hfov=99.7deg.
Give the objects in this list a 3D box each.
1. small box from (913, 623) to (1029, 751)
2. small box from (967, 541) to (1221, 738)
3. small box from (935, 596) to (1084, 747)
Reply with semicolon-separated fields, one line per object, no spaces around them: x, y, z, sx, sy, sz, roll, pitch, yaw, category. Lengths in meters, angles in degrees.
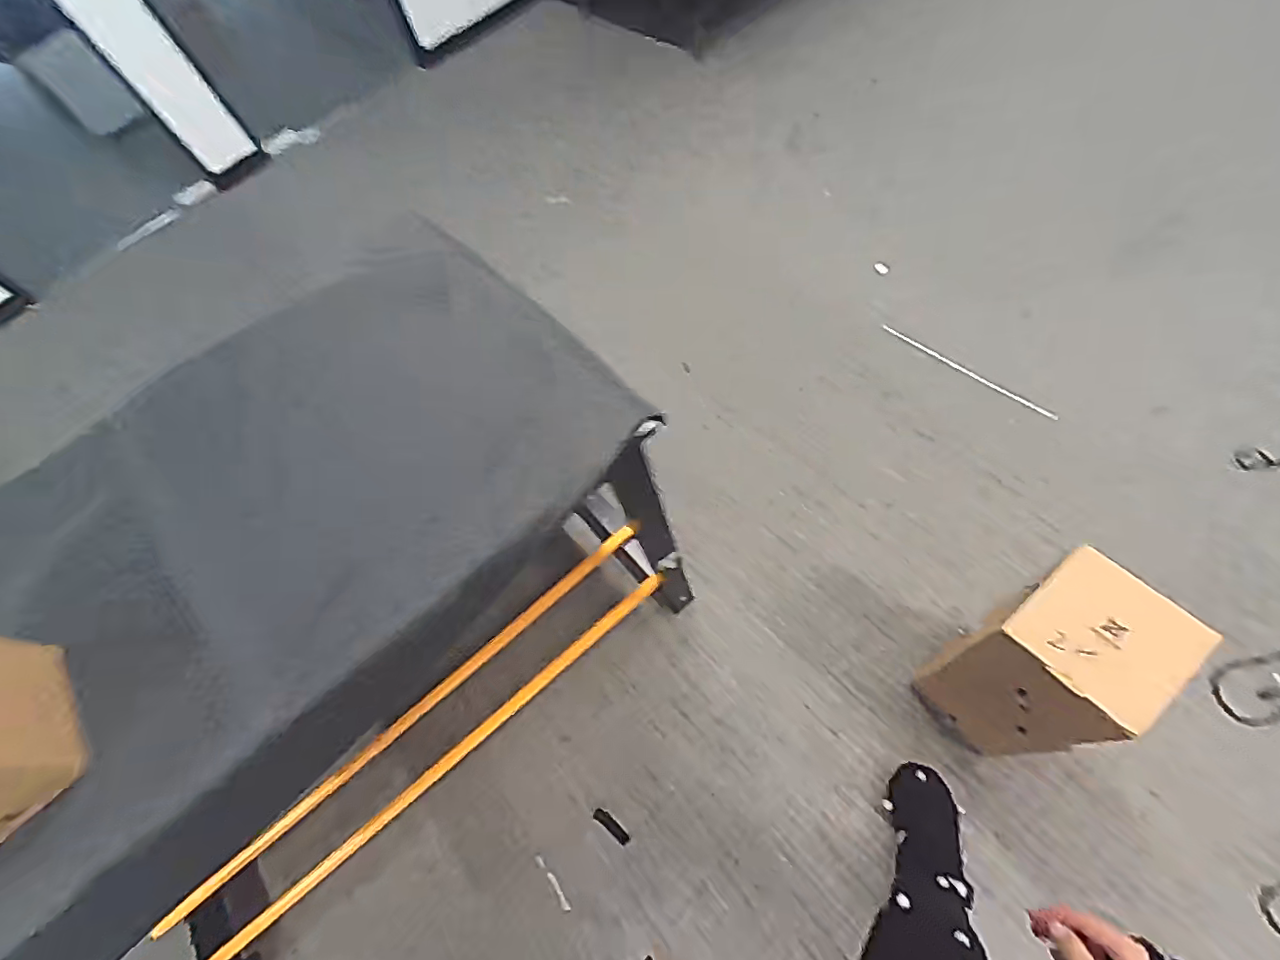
0.652;0.374;1.006;0.168;0.176;0.179;-37;63;-11;small box
0.585;0.218;0.727;0.179;0.176;0.168;-39;62;-11;small box
0.619;0.300;0.866;0.168;0.176;0.179;-40;61;-12;small box
